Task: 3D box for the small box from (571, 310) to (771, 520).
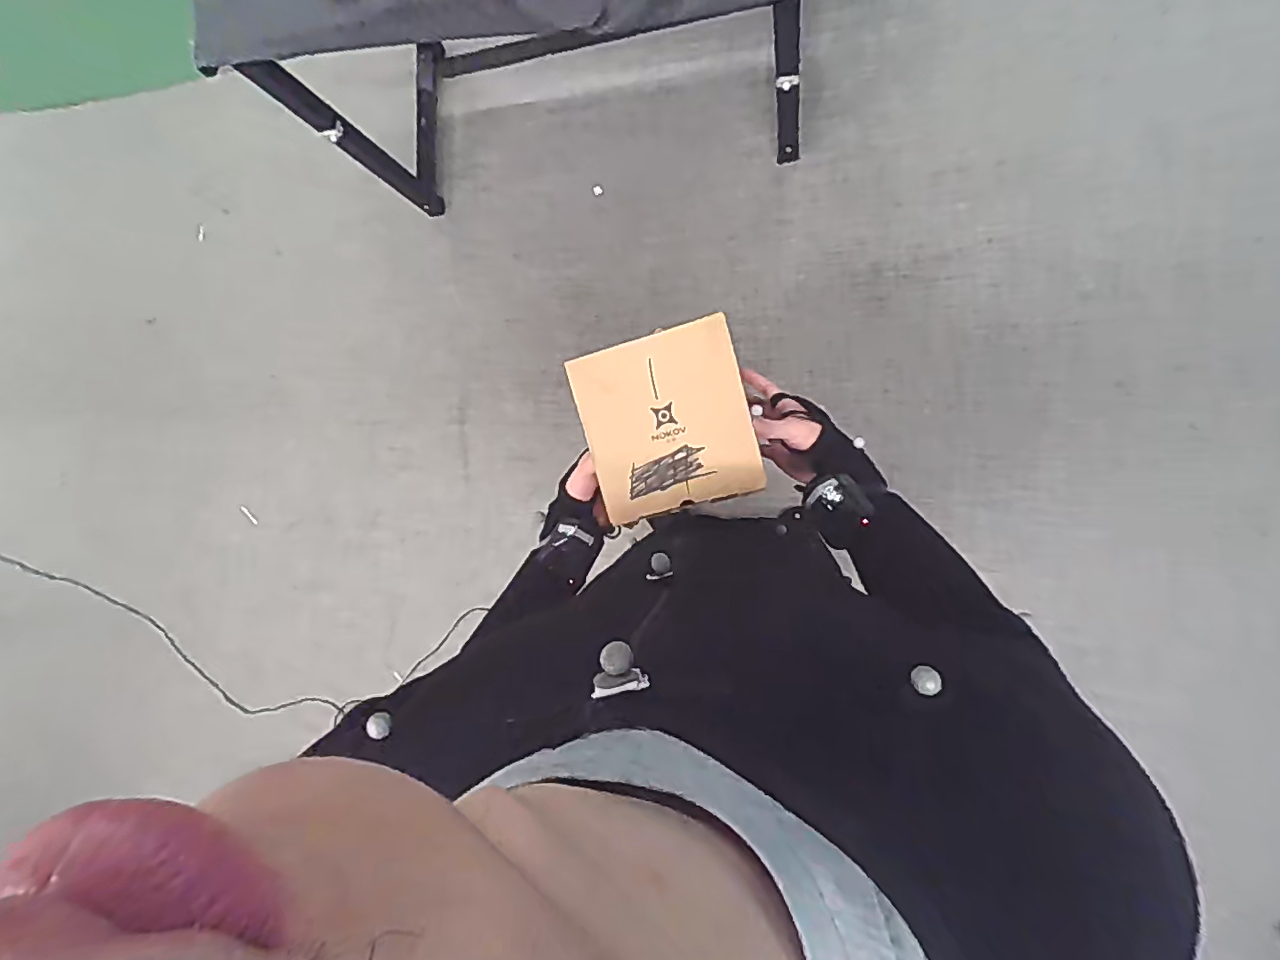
[{"bbox_3d":[0.045,-0.073,0.607,0.168,0.176,0.179,-15,96,12],"label":"small box"}]
